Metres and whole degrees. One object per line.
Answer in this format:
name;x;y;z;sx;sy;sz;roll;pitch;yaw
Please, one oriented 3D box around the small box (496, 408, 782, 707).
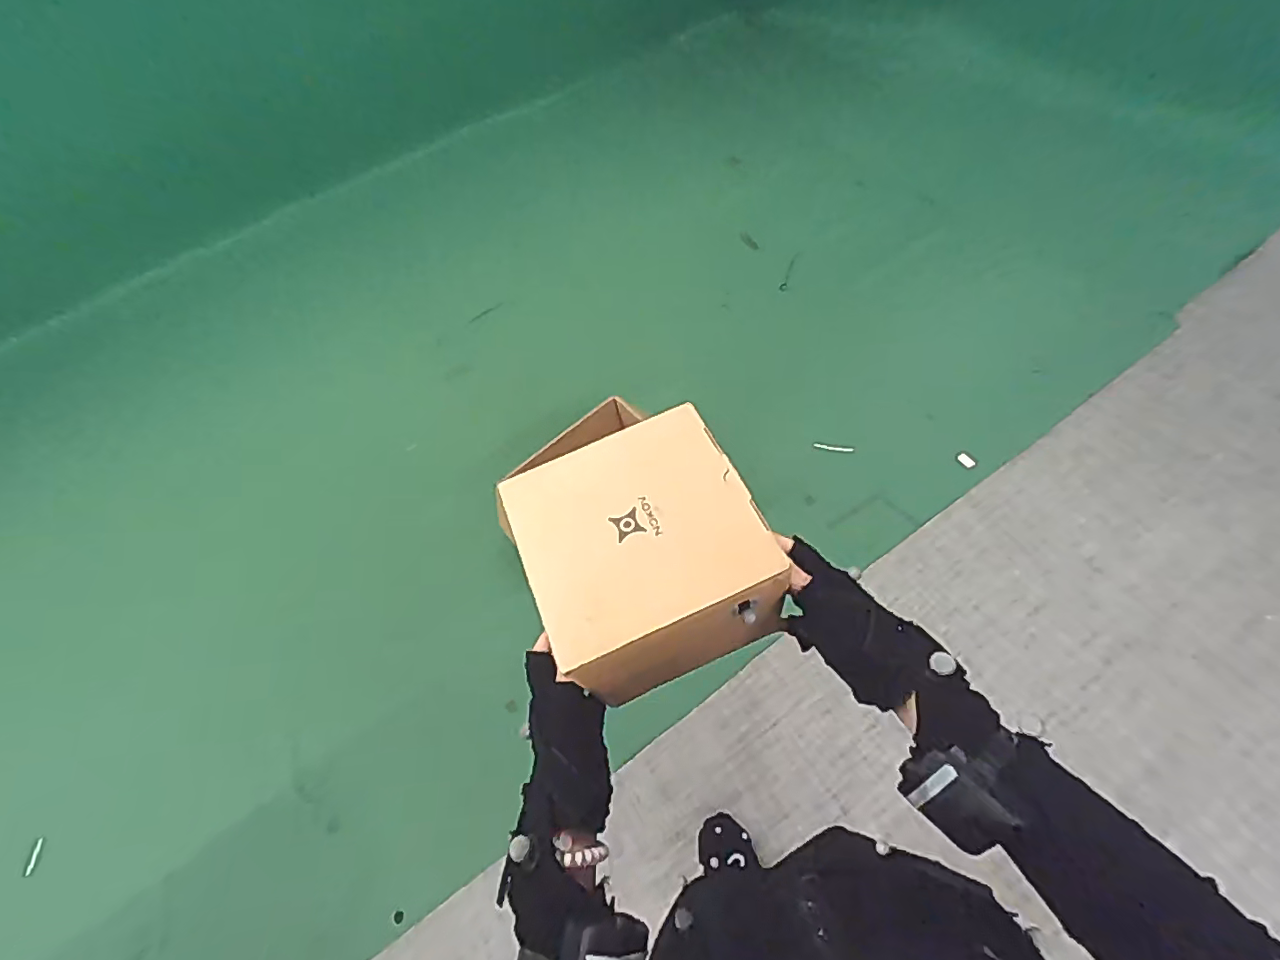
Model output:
small box;0.003;0.076;0.469;0.179;0.176;0.168;-24;59;-5
